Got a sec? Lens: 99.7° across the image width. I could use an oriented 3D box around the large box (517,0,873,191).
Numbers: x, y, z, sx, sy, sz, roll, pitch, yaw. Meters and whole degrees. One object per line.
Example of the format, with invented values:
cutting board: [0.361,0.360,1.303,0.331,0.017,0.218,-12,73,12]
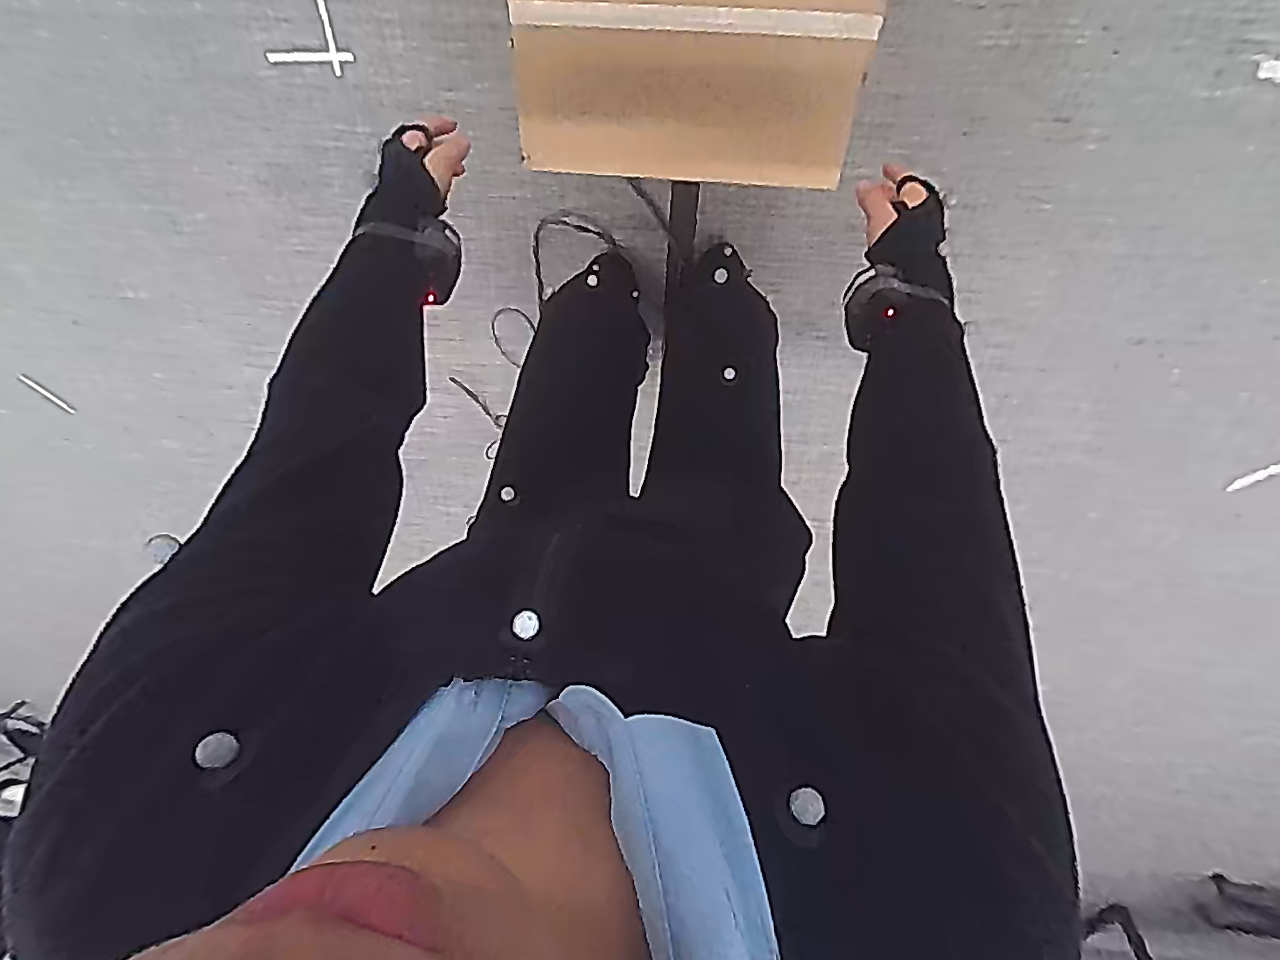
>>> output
large box: [0.072,-0.598,0.735,0.408,0.320,0.320,5,125,3]
